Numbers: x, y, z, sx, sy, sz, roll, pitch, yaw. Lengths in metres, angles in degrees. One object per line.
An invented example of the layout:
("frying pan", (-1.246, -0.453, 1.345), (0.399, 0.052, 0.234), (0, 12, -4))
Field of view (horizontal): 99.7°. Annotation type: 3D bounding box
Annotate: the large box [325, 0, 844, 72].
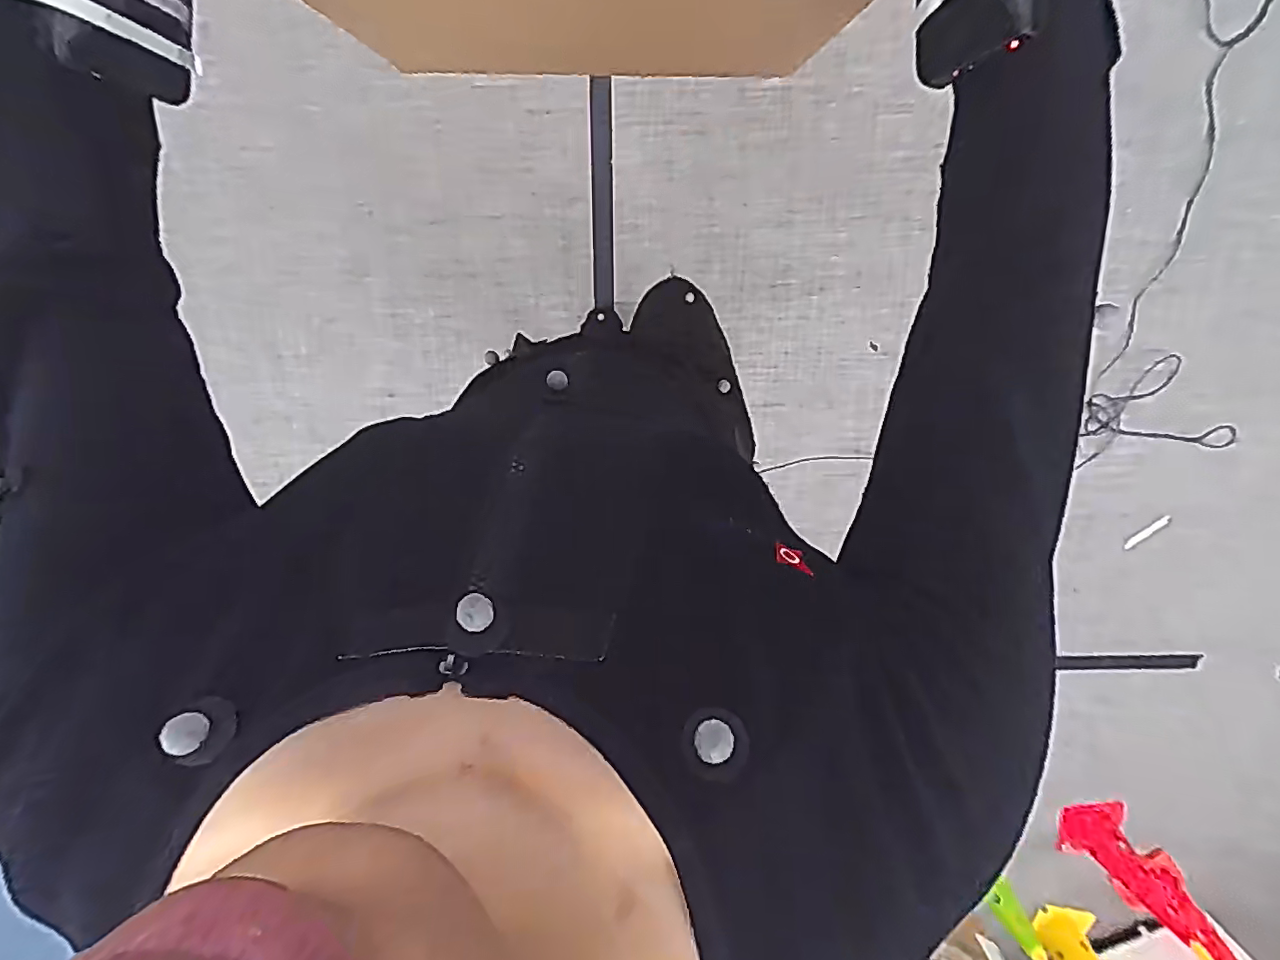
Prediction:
("large box", (-0.040, -0.502, 0.358), (0.408, 0.320, 0.320), (-1, 115, -2))
